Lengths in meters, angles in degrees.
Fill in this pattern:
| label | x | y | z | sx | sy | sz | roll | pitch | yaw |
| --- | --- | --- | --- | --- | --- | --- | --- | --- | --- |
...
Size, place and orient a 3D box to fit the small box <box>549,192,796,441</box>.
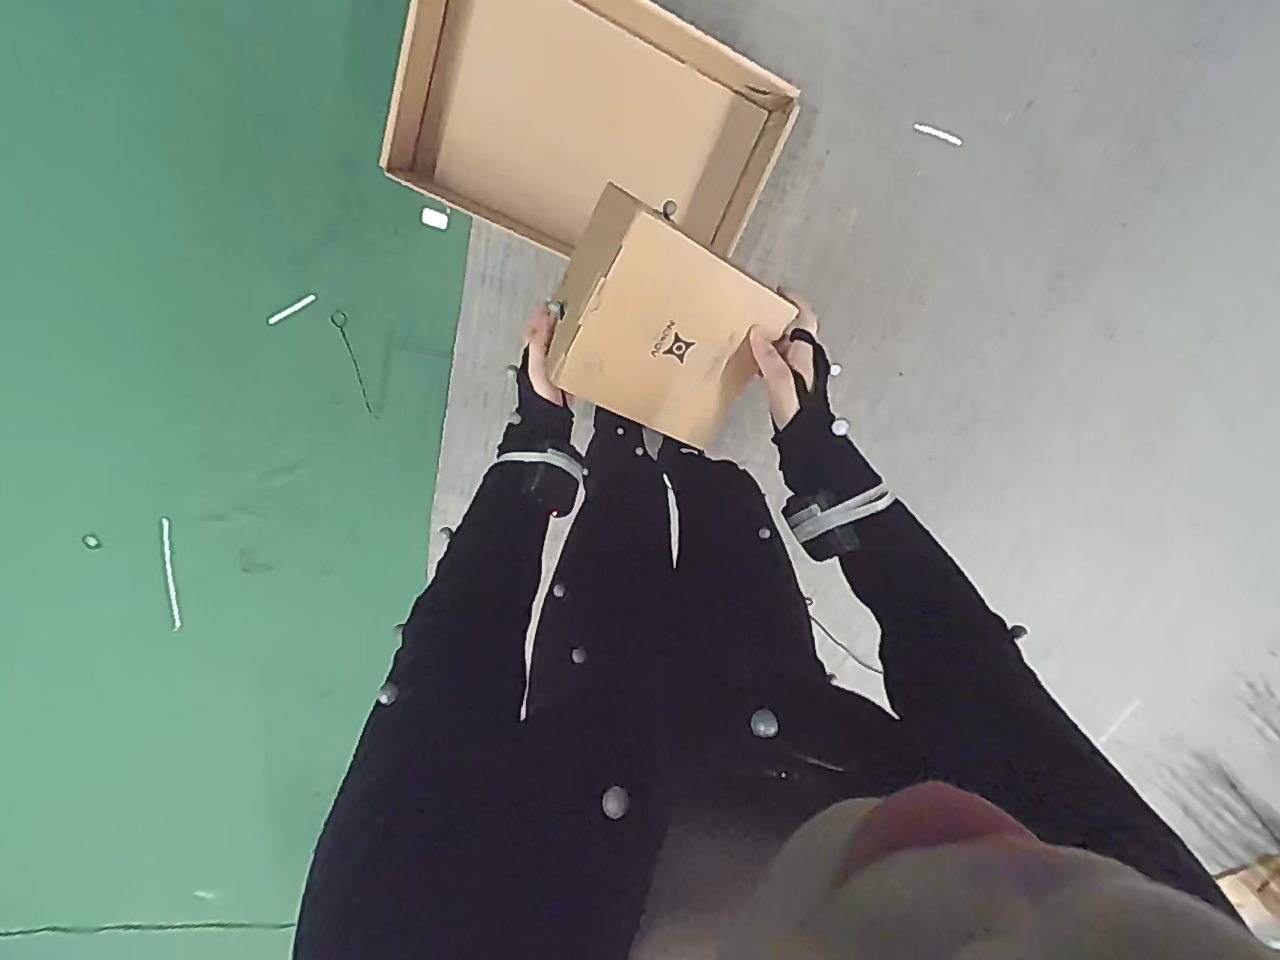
| label | x | y | z | sx | sy | sz | roll | pitch | yaw |
| --- | --- | --- | --- | --- | --- | --- | --- | --- | --- |
| small box | 0.017 | -0.173 | 0.559 | 0.179 | 0.176 | 0.168 | 21 | 117 | -26 |
